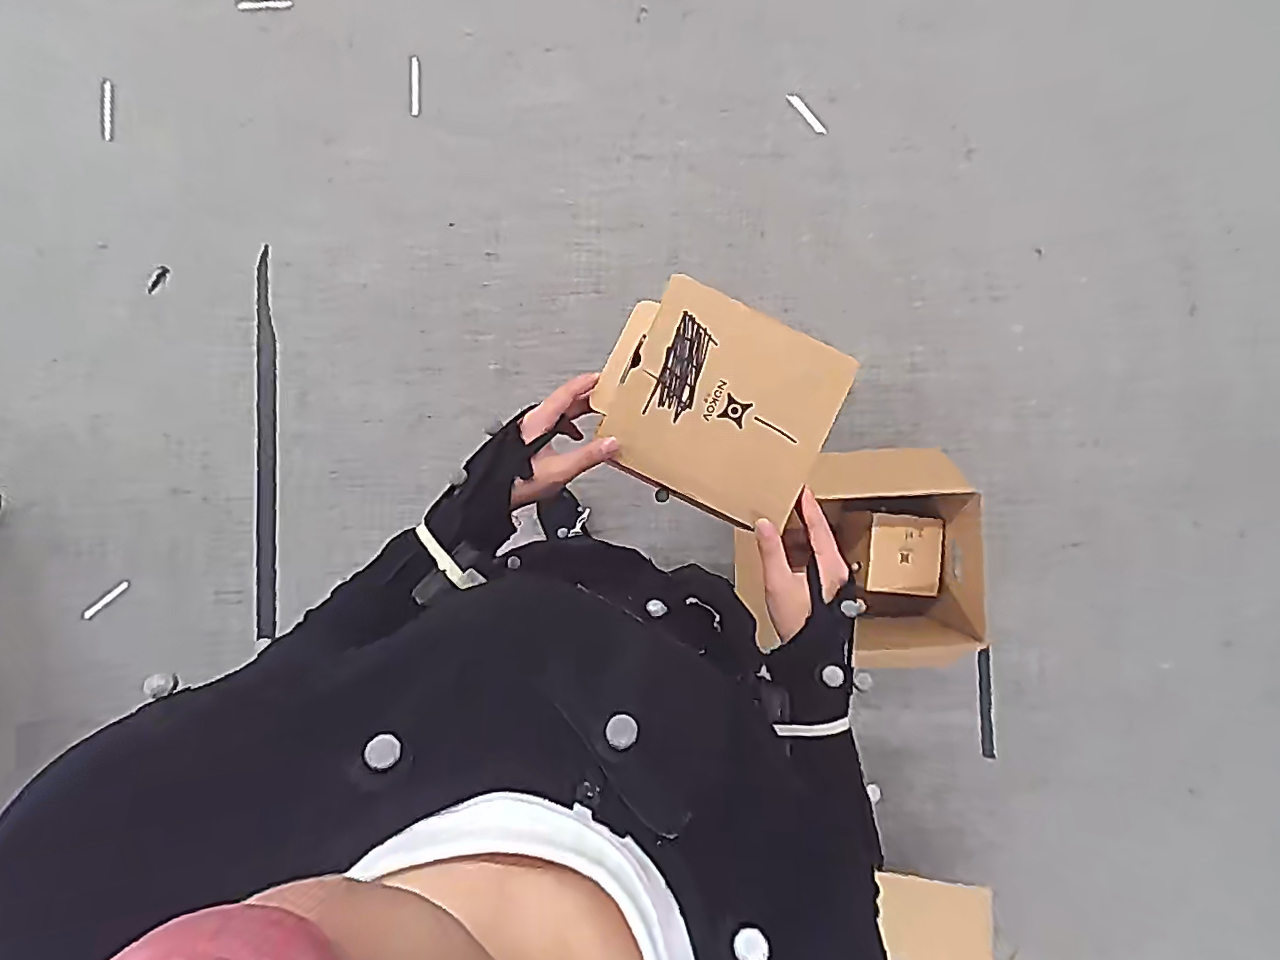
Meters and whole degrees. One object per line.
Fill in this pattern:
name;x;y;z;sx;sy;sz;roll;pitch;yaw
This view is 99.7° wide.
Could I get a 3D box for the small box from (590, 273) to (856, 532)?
small box;0.067;-0.062;0.529;0.179;0.176;0.168;26;89;-1
